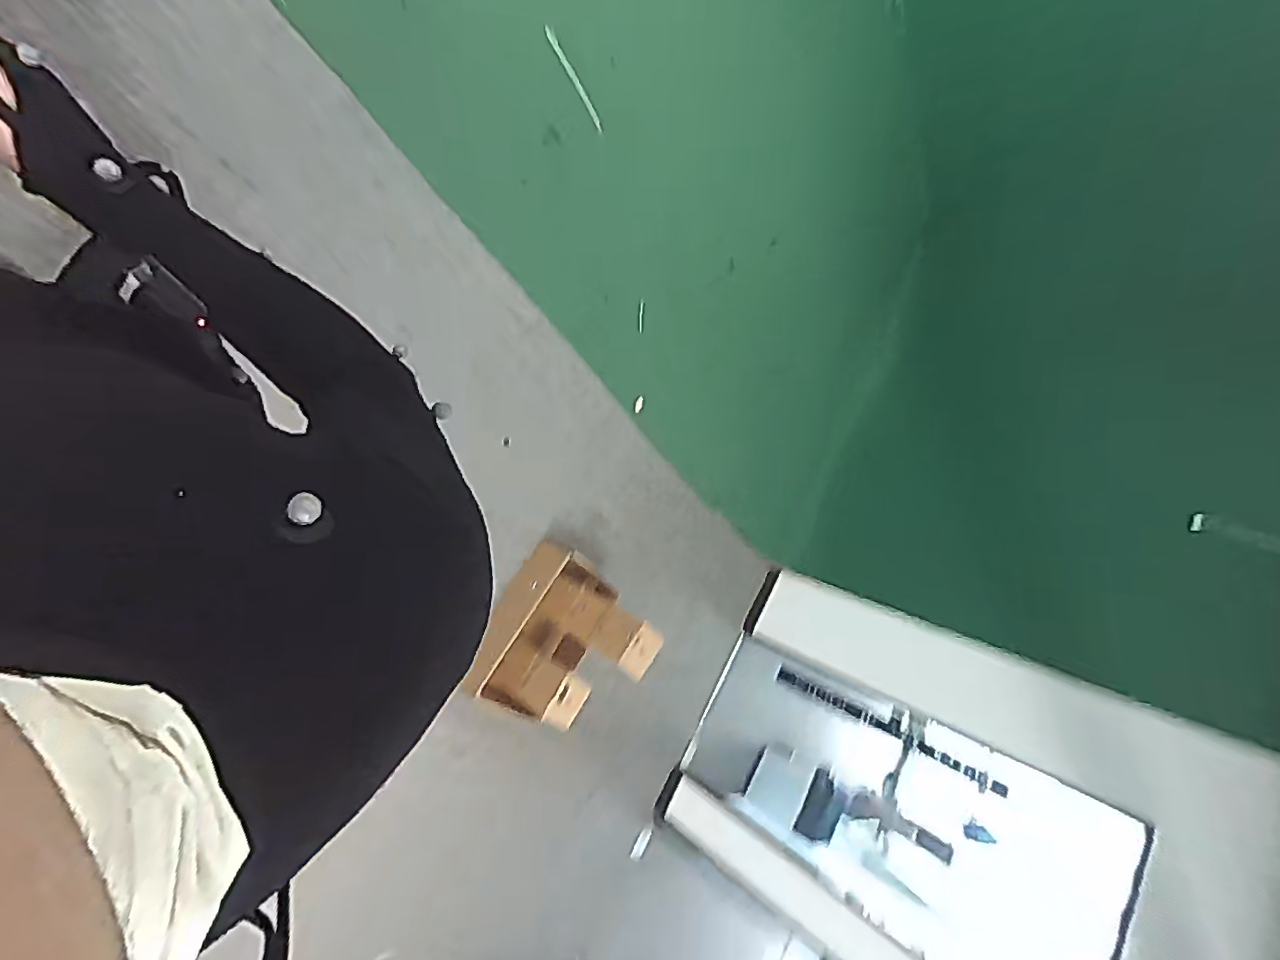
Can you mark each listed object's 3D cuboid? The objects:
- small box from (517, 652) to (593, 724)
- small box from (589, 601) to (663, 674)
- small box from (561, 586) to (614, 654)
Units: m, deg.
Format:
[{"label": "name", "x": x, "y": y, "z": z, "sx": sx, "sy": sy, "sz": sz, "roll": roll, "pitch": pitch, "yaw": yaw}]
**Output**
[{"label": "small box", "x": -0.313, "y": 0.755, "z": 1.976, "sx": 0.168, "sy": 0.176, "sz": 0.179, "roll": -57, "pitch": 139, "yaw": -20}, {"label": "small box", "x": -0.051, "y": 0.565, "z": 1.951, "sx": 0.168, "sy": 0.176, "sz": 0.179, "roll": -54, "pitch": 138, "yaw": -19}, {"label": "small box", "x": -0.165, "y": 0.531, "z": 2.064, "sx": 0.168, "sy": 0.176, "sz": 0.179, "roll": -56, "pitch": 138, "yaw": -17}]
